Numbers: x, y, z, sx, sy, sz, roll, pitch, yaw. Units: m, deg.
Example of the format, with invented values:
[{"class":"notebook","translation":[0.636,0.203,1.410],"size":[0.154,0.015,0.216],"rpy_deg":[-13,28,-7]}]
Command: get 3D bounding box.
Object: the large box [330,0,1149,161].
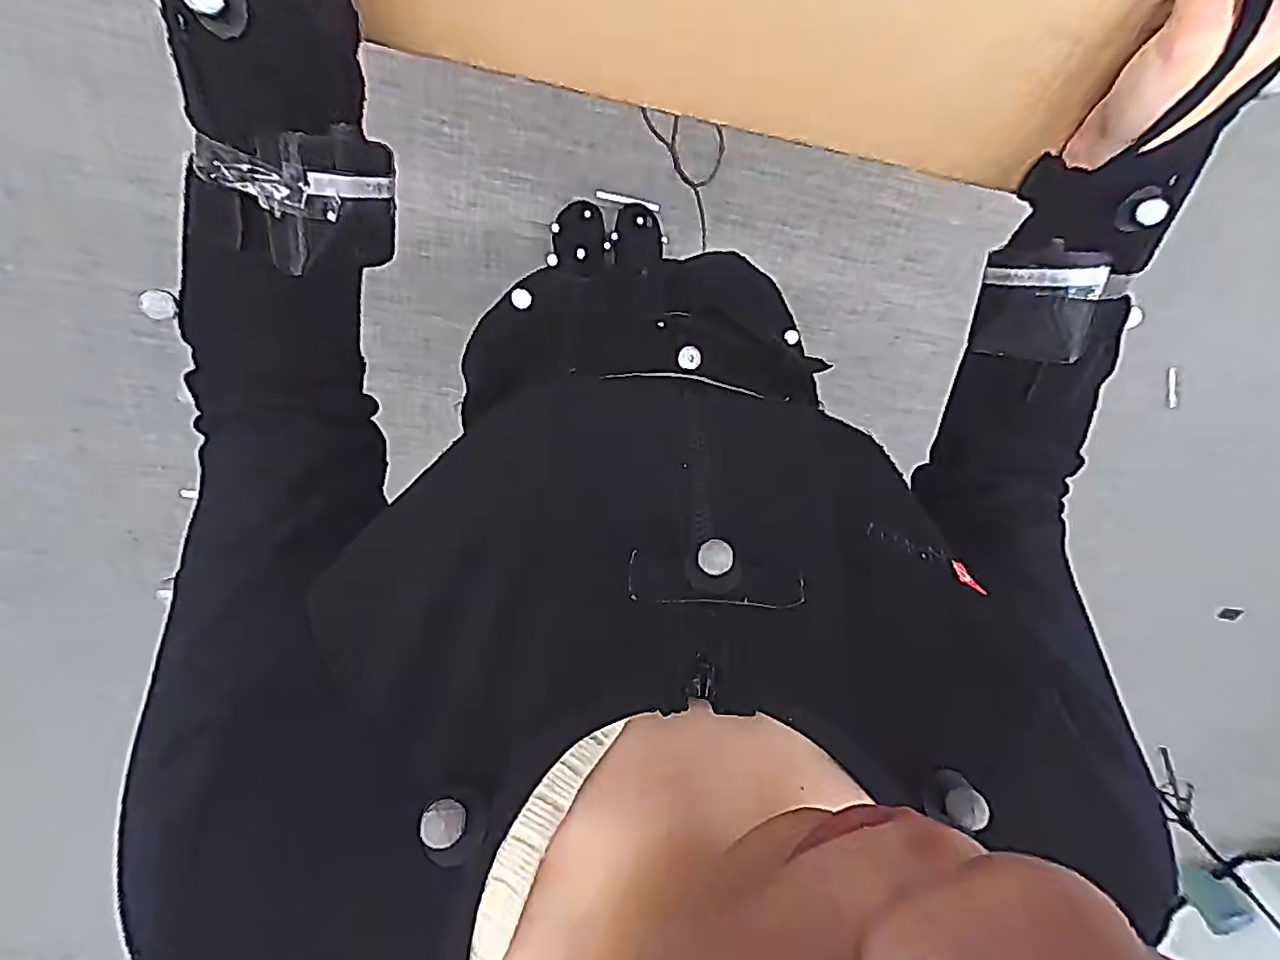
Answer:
[{"class":"large box","translation":[0.065,-0.418,0.260],"size":[0.408,0.320,0.320],"rpy_deg":[6,146,-10]}]
